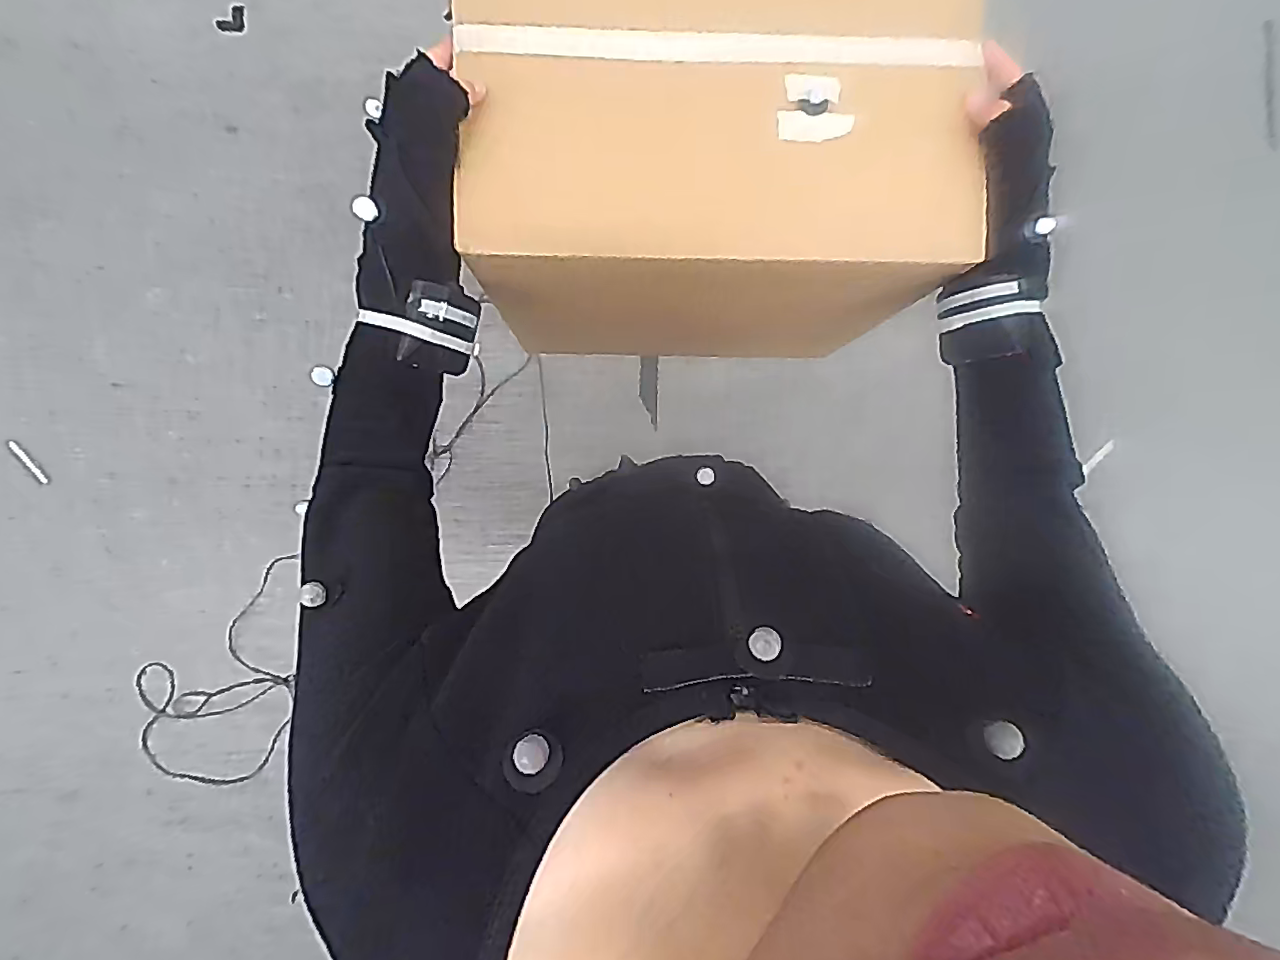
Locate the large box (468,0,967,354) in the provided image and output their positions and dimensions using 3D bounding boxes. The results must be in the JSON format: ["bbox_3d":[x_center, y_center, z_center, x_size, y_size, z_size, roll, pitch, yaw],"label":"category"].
[{"bbox_3d":[0.055,-0.327,0.577,0.408,0.320,0.320,0,89,-3],"label":"large box"}]
